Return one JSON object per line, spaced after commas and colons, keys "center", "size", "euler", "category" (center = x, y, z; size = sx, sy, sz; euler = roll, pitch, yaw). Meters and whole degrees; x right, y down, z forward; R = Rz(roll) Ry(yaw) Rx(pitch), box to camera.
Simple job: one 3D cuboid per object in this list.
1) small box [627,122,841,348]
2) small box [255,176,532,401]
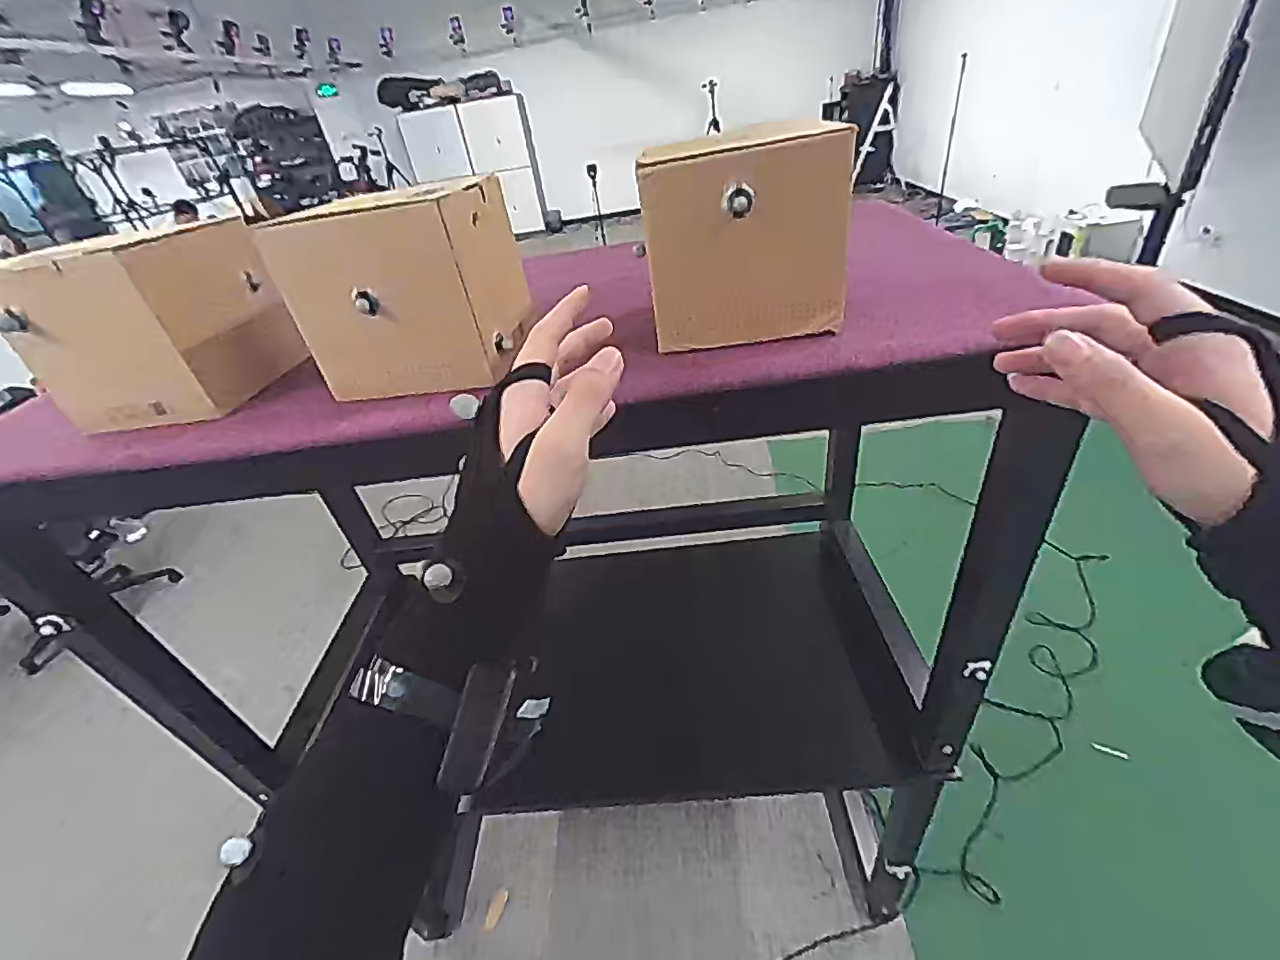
{"center": [0.093, -0.242, 0.542], "size": [0.179, 0.176, 0.168], "euler": [-5, 35, 8], "category": "small box"}
{"center": [-0.229, -0.197, 0.561], "size": [0.179, 0.176, 0.168], "euler": [-5, 35, 10], "category": "small box"}
